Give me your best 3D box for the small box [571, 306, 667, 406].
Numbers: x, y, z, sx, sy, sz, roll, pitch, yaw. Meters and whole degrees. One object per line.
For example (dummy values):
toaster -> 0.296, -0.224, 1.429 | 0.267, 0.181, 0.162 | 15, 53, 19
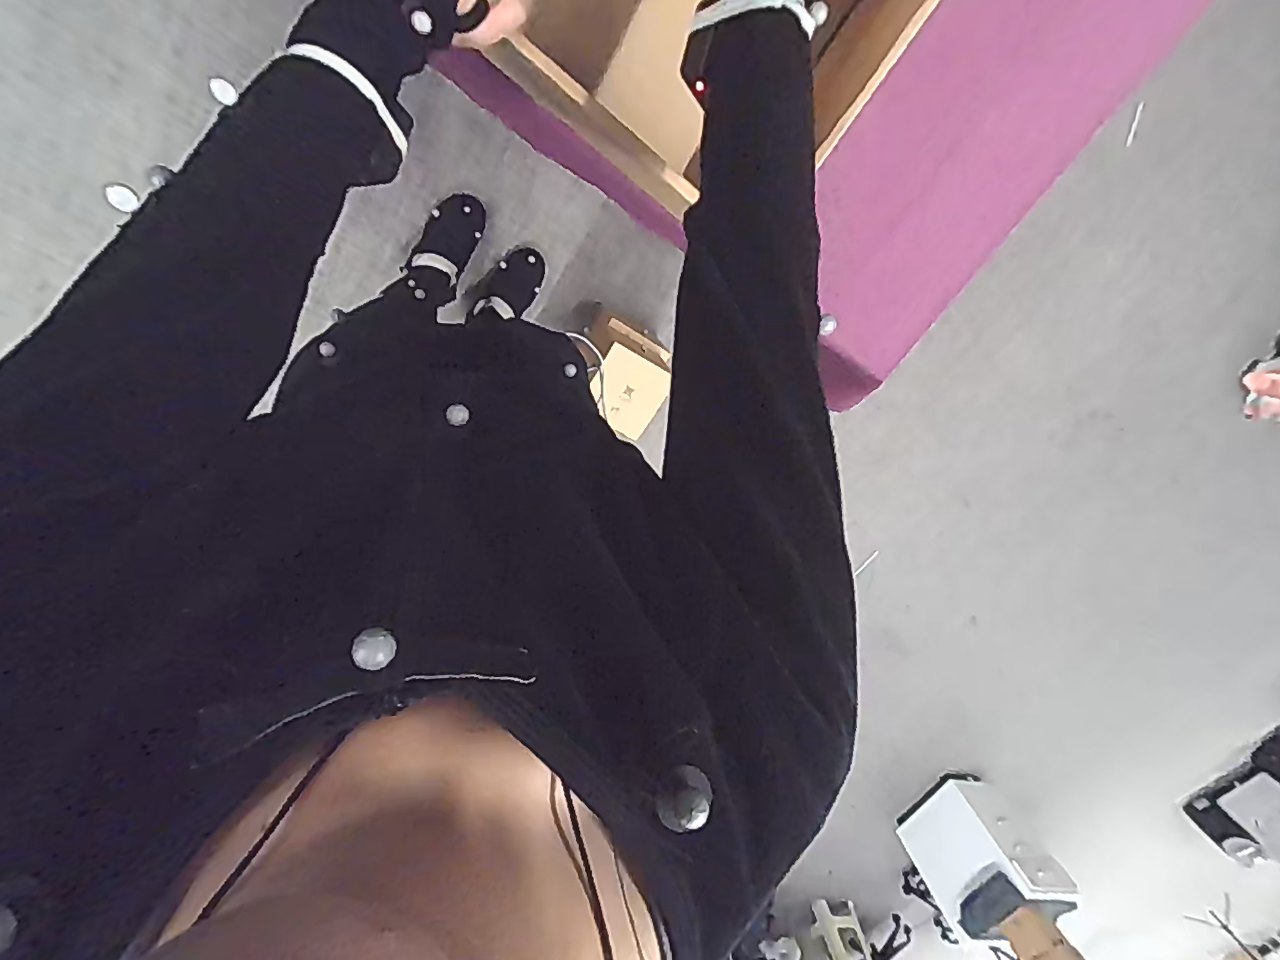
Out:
small box -> -0.061, -0.323, 1.382 | 0.179, 0.176, 0.168 | 27, 111, -24
